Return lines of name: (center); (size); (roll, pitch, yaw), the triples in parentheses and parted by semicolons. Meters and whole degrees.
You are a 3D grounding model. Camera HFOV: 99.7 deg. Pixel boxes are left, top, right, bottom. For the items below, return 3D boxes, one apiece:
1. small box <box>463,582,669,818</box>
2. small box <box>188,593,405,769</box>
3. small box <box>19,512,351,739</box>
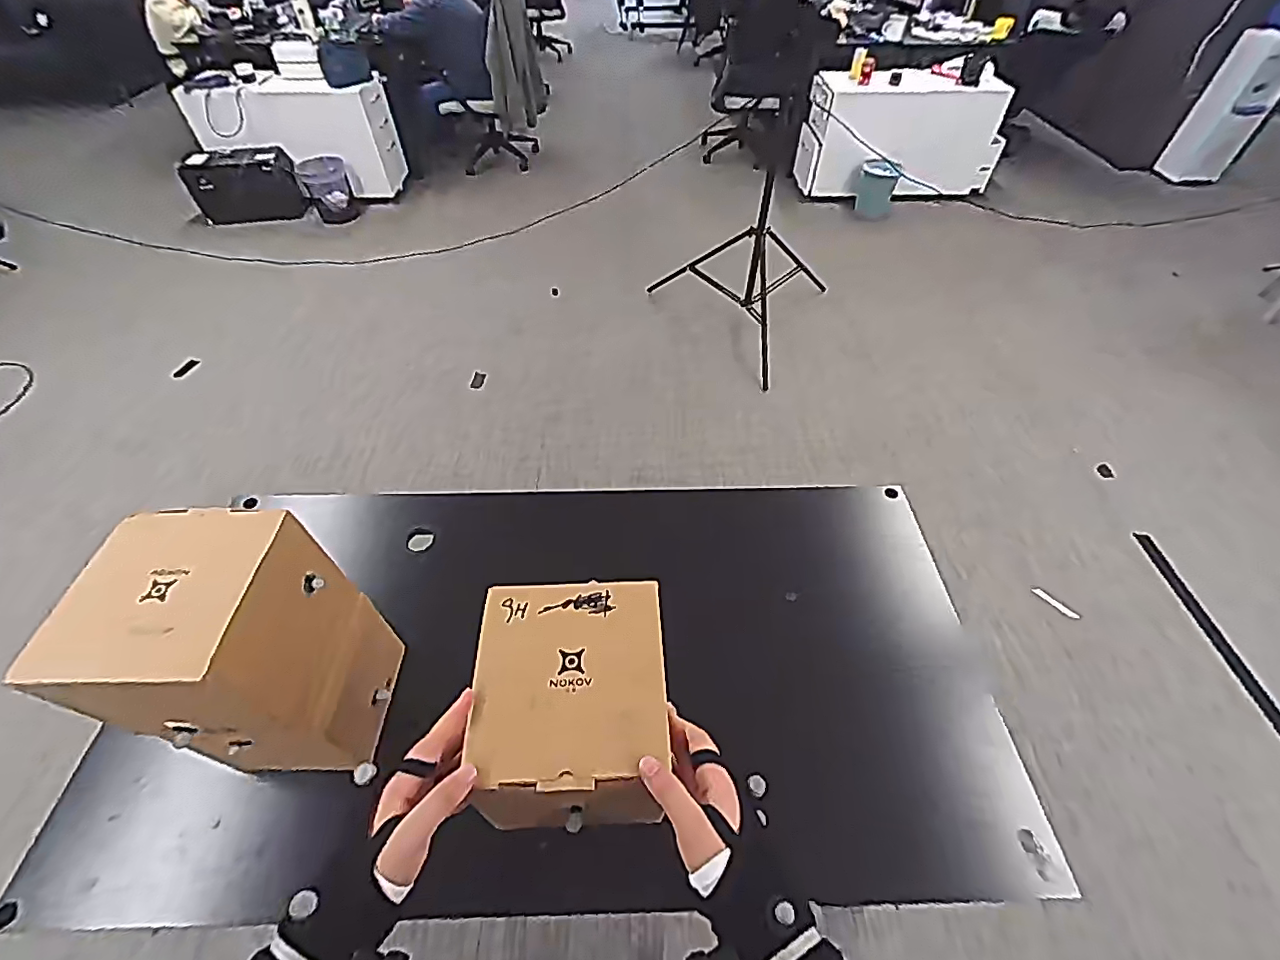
small box: (-0.060, 0.221, 0.532); (0.168, 0.176, 0.179); (-2, 49, -2)
small box: (-0.428, 0.256, 0.682); (0.179, 0.176, 0.168); (1, 49, -1)
small box: (-0.430, 0.151, 0.558); (0.168, 0.176, 0.179); (-2, 50, 0)
